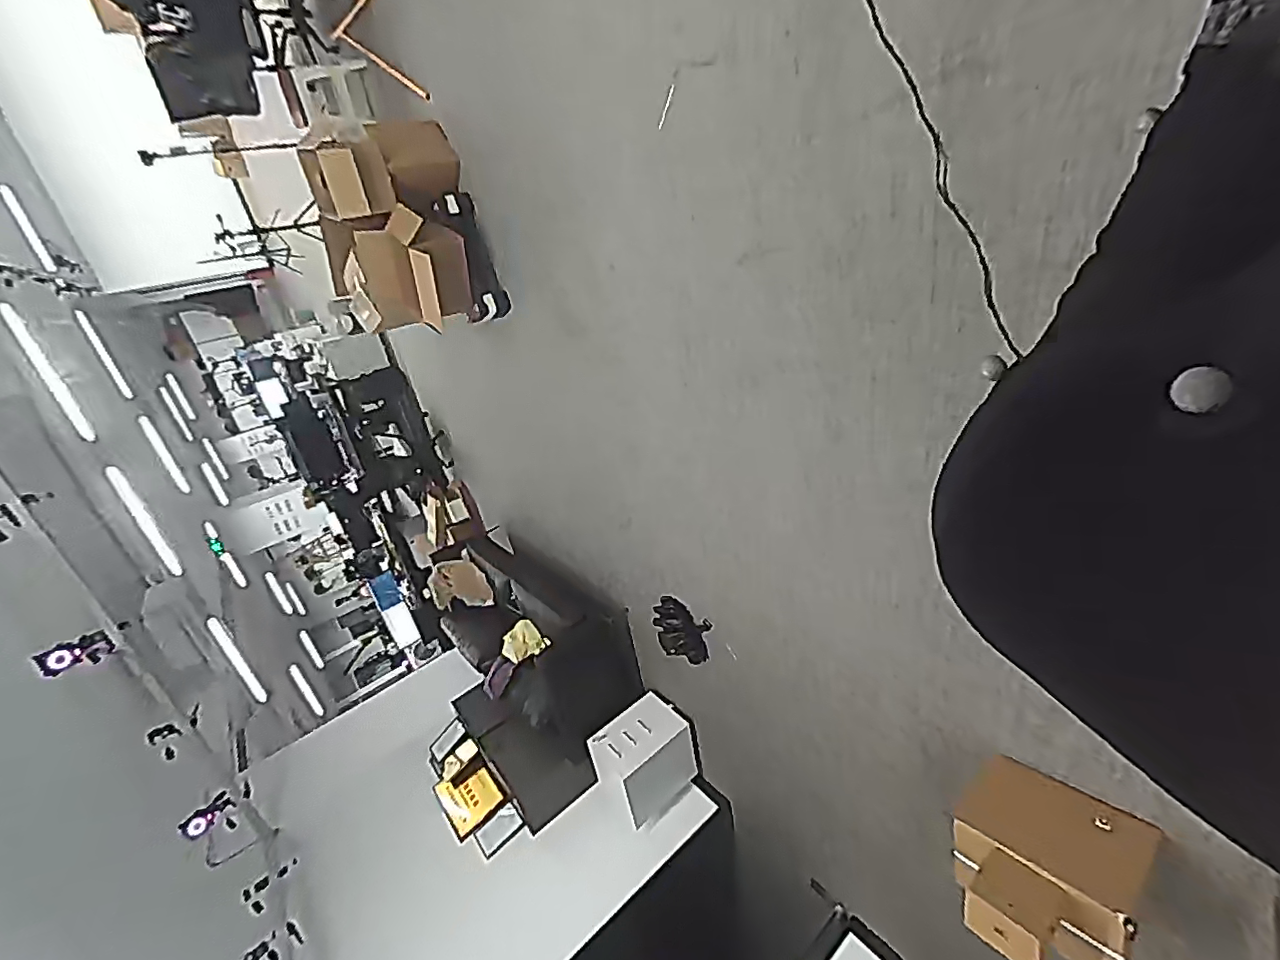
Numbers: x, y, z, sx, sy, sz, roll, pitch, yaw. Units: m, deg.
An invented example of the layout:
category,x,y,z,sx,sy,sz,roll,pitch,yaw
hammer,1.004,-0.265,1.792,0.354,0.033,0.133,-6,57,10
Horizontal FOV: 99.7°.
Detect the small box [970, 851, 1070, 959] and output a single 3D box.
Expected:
category,x,y,z,sx,sy,sz,roll,pitch,yaw
small box,1.020,1.159,1.451,0.179,0.176,0.168,17,125,51
